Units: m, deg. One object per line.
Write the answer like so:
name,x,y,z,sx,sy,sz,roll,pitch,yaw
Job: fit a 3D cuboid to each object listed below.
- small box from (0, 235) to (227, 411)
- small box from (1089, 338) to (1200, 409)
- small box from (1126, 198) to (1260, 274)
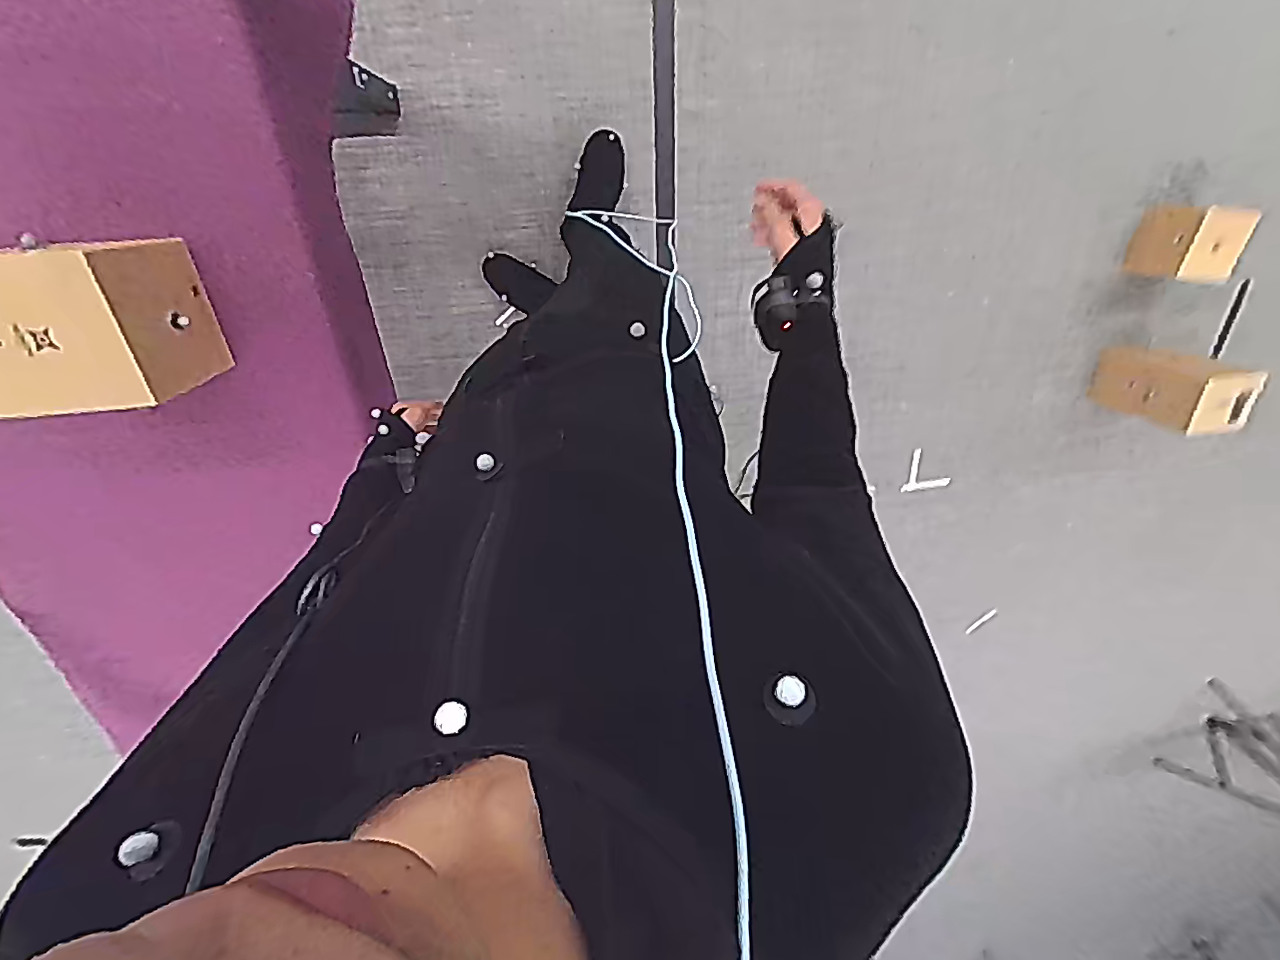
small box,-0.640,-0.194,0.644,0.179,0.176,0.168,-5,119,-5
small box,1.579,-0.342,1.706,0.168,0.176,0.179,-7,120,-3
small box,1.534,-0.687,1.517,0.168,0.176,0.179,1,117,-8
